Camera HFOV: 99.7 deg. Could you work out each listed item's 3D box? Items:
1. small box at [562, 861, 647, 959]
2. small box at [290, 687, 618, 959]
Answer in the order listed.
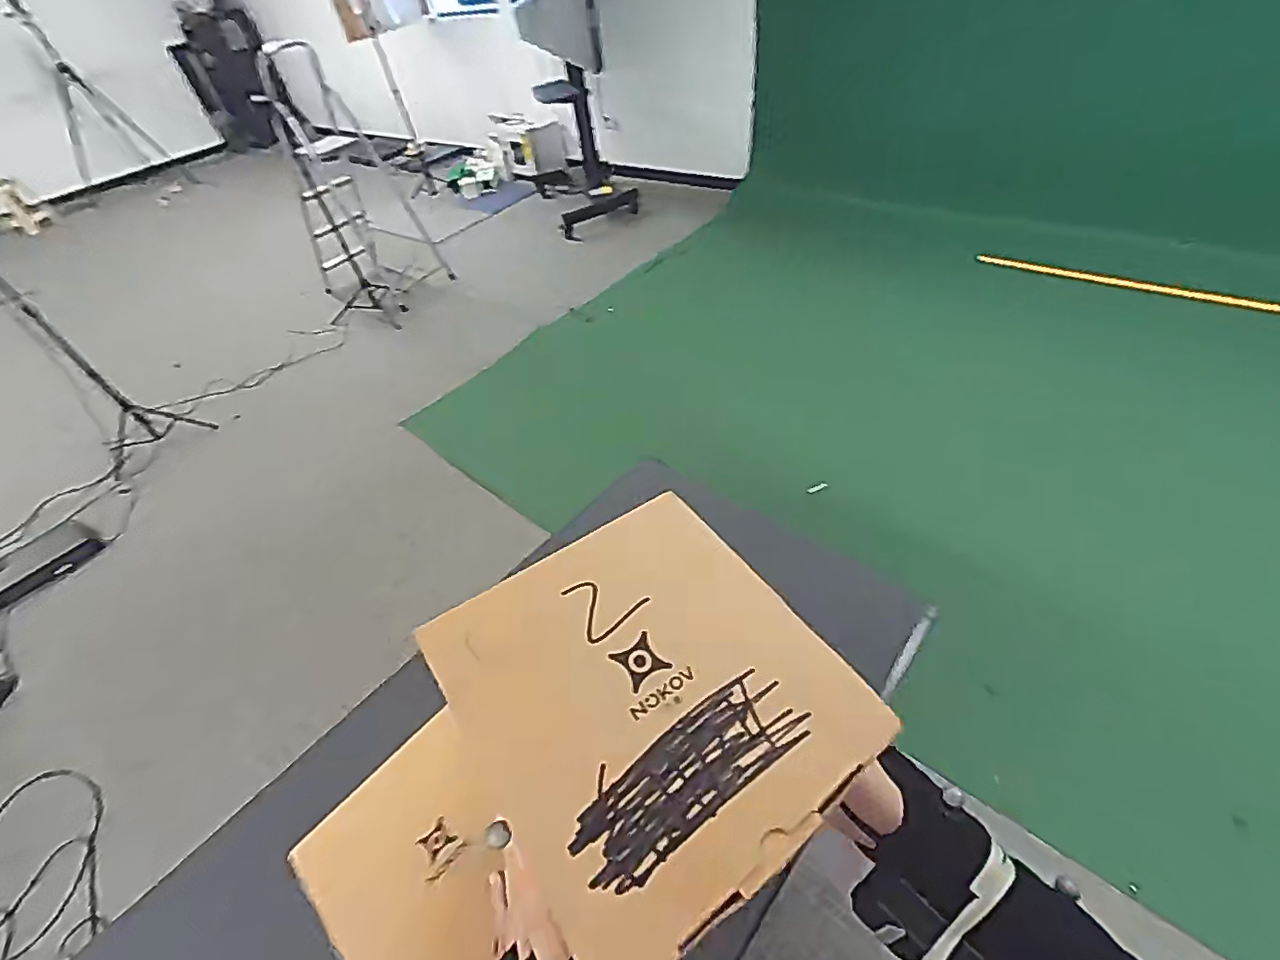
[{"bbox_3d":[-0.114,0.438,0.564,0.179,0.176,0.168,29,58,32],"label":"small box"},{"bbox_3d":[-0.141,0.321,0.455,0.179,0.176,0.168,30,57,32],"label":"small box"}]
